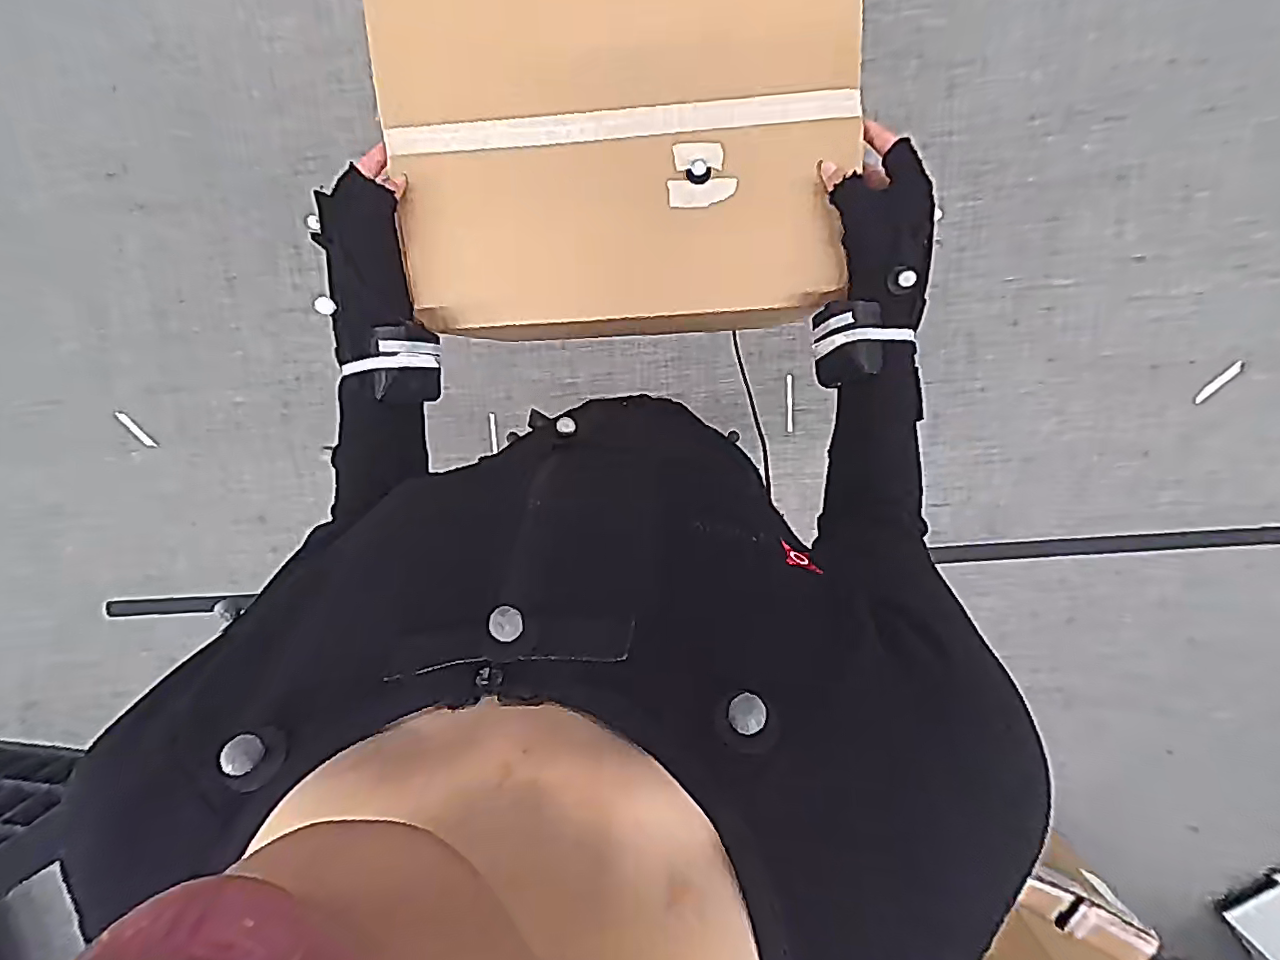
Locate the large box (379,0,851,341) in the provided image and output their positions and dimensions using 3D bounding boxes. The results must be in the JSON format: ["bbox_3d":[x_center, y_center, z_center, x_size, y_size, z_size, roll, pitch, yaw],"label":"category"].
[{"bbox_3d":[-0.014,-0.339,0.618,0.408,0.320,0.320,-3,102,3],"label":"large box"}]
